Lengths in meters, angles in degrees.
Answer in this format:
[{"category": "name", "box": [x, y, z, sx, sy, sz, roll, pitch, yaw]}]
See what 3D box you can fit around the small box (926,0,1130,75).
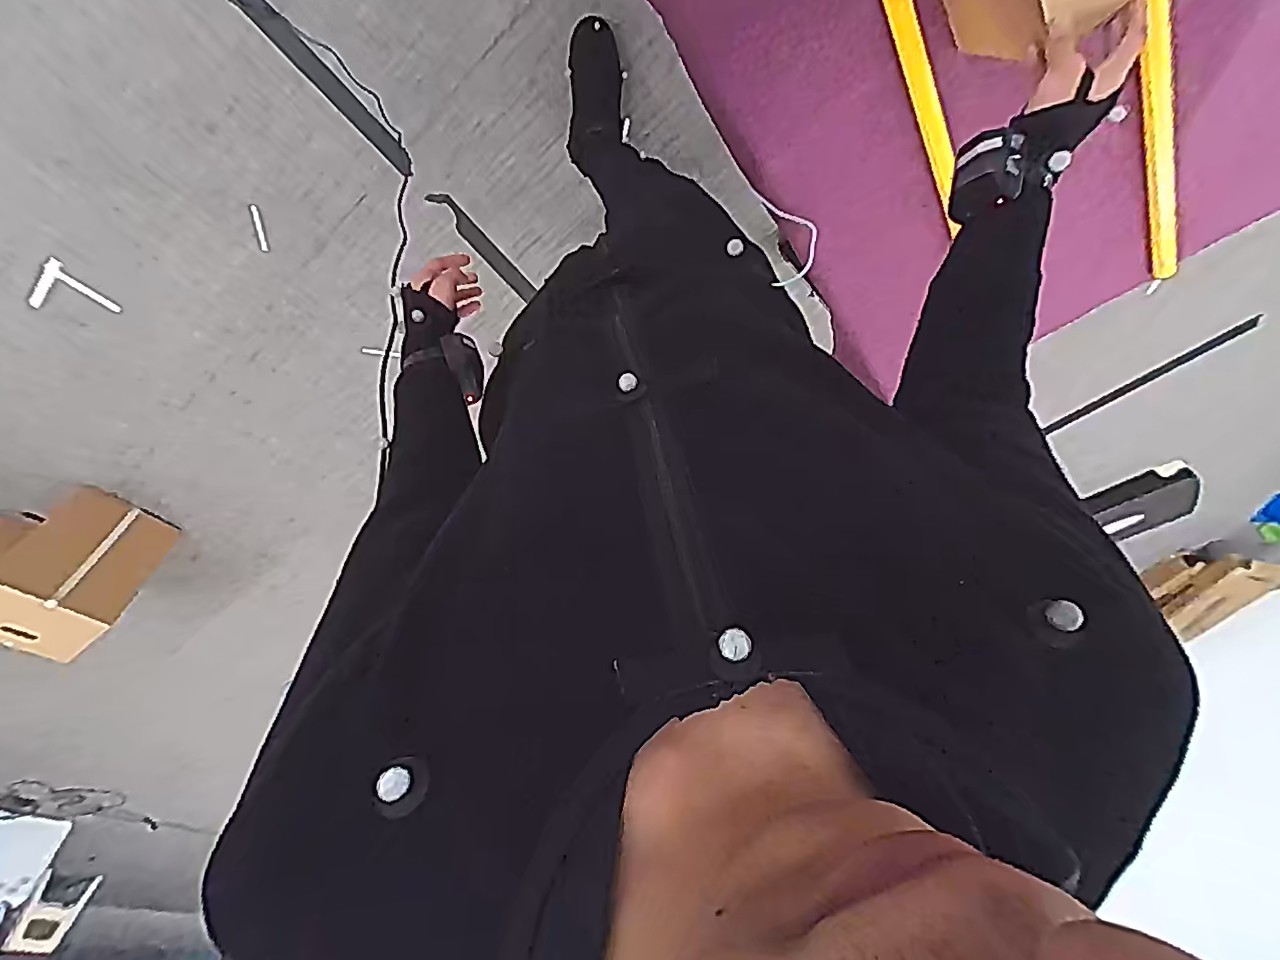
[{"category": "small box", "box": [0.372, -0.525, 0.493, 0.168, 0.176, 0.179, -34, 127, 22]}]
